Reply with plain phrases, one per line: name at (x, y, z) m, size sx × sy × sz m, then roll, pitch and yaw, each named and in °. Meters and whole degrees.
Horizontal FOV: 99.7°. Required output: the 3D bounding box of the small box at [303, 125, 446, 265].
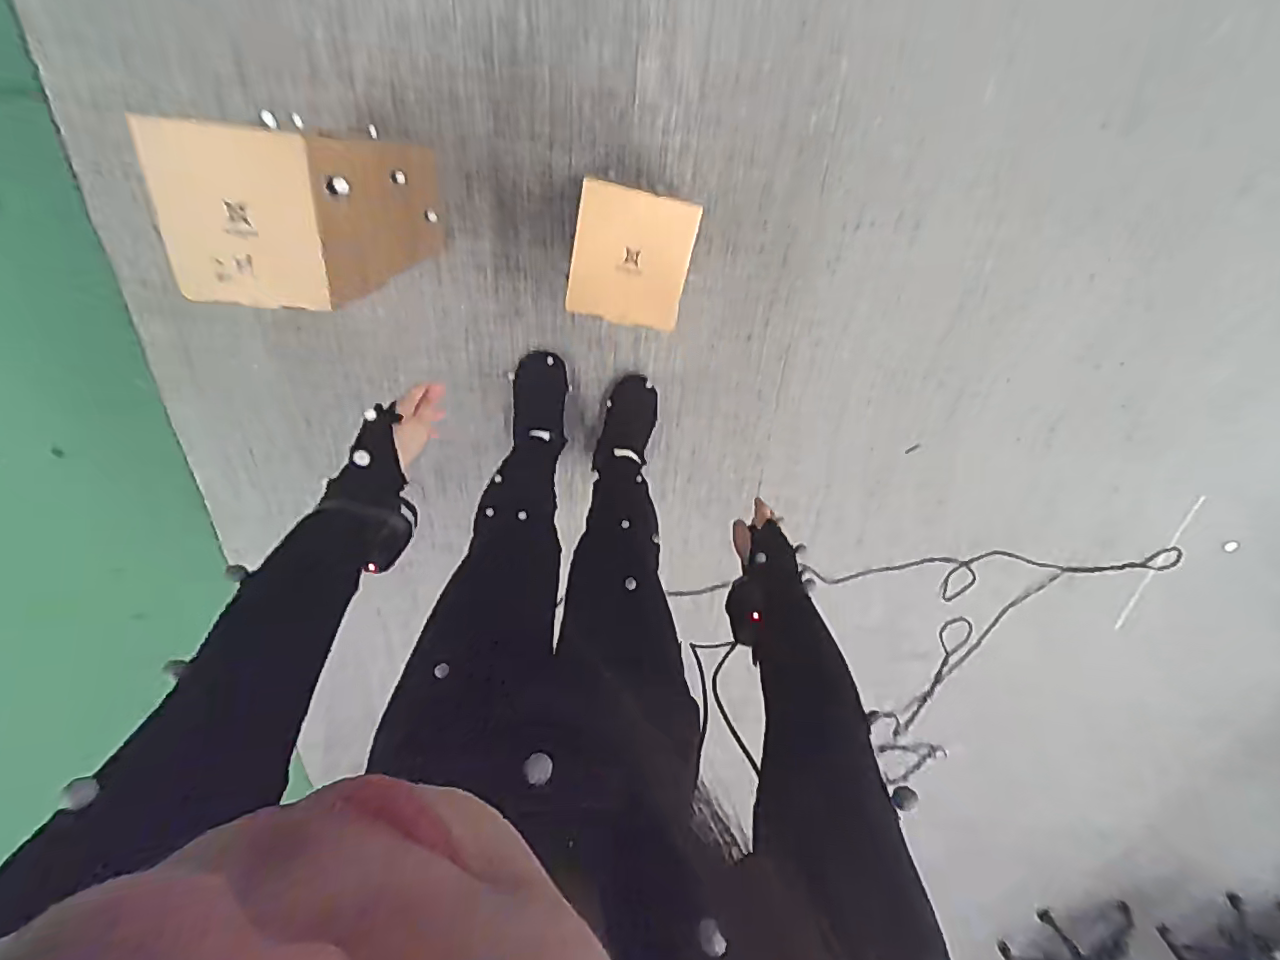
small box at (-0.434, -0.482, 0.916) m, size 0.168 × 0.176 × 0.179 m, roll 6°, pitch 120°, yaw -6°

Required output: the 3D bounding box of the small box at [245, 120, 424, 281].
small box at (-0.425, -0.399, 0.777) m, size 0.168 × 0.176 × 0.179 m, roll 4°, pitch 121°, yaw -4°

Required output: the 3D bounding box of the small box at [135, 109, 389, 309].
small box at (-0.417, -0.314, 0.636) m, size 0.168 × 0.176 × 0.179 m, roll 4°, pitch 119°, yaw -3°

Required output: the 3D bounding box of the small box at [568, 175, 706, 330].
small box at (-0.011, -0.350, 0.823) m, size 0.168 × 0.176 × 0.179 m, roll 10°, pitch 120°, yaw -8°
